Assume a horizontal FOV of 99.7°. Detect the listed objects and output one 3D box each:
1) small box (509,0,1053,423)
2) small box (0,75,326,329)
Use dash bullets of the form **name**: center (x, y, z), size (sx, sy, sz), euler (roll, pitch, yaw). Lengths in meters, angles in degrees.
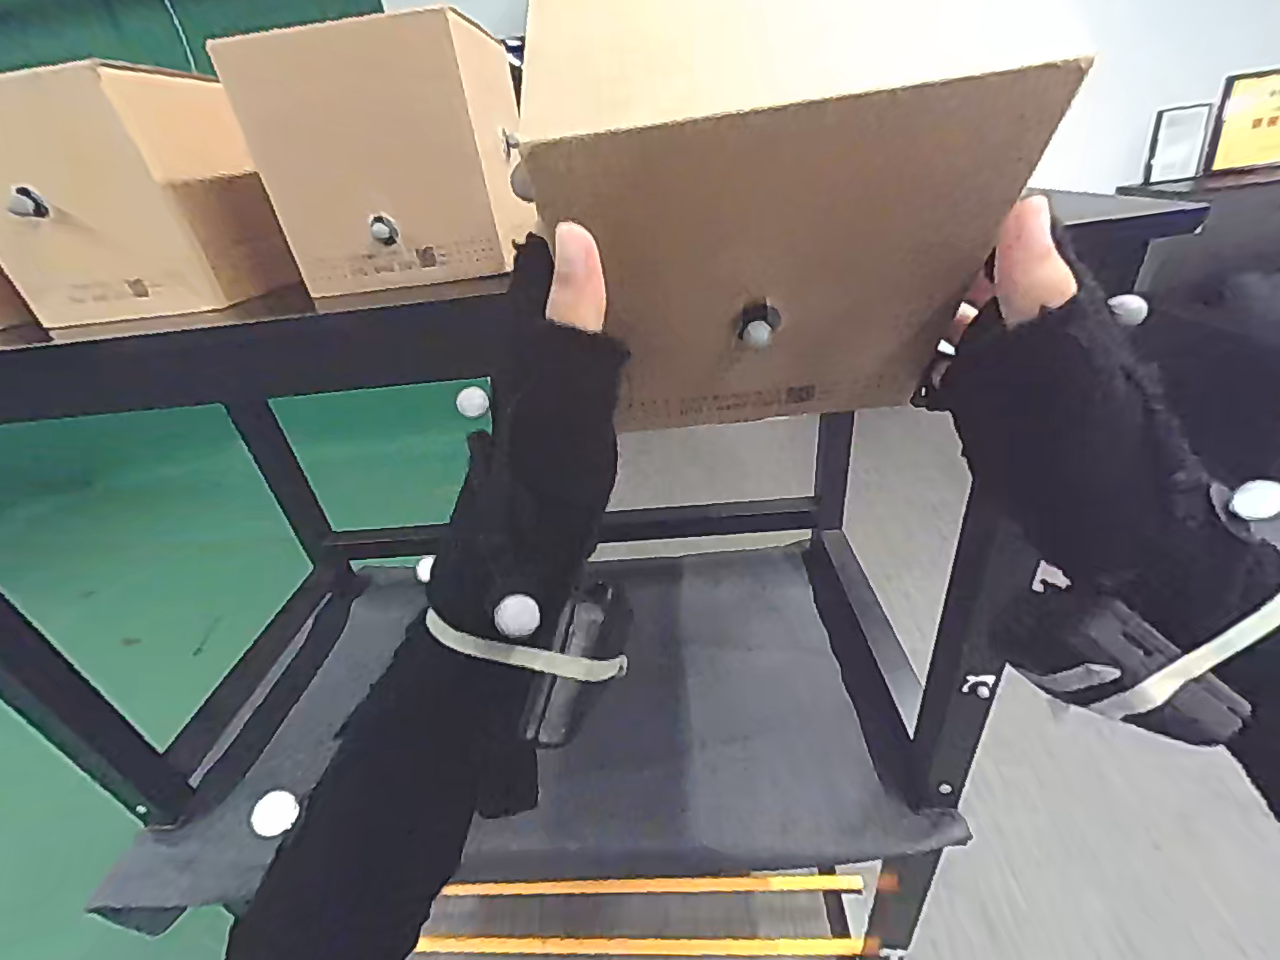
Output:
- **small box**: center (0.046, -0.140, 0.269), size (0.168, 0.176, 0.179), euler (-5, 62, 5)
- **small box**: center (-0.428, -0.240, 0.489), size (0.168, 0.176, 0.179), euler (-4, 31, 7)
